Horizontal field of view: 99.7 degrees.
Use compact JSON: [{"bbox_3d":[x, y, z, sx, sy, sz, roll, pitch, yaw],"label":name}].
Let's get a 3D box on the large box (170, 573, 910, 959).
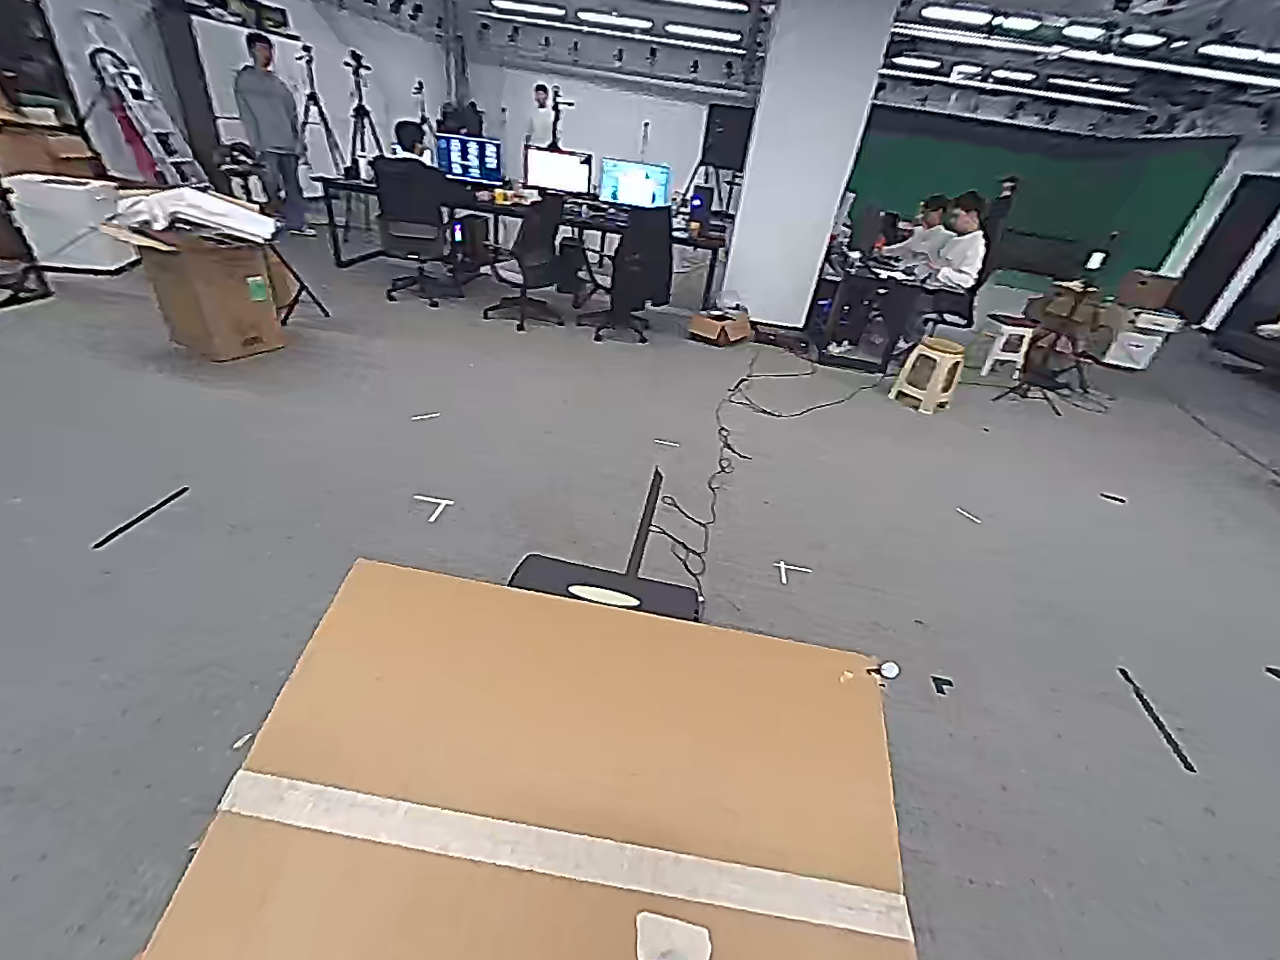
[{"bbox_3d":[-0.054,0.312,0.442,0.408,0.320,0.320,11,54,0],"label":"large box"}]
